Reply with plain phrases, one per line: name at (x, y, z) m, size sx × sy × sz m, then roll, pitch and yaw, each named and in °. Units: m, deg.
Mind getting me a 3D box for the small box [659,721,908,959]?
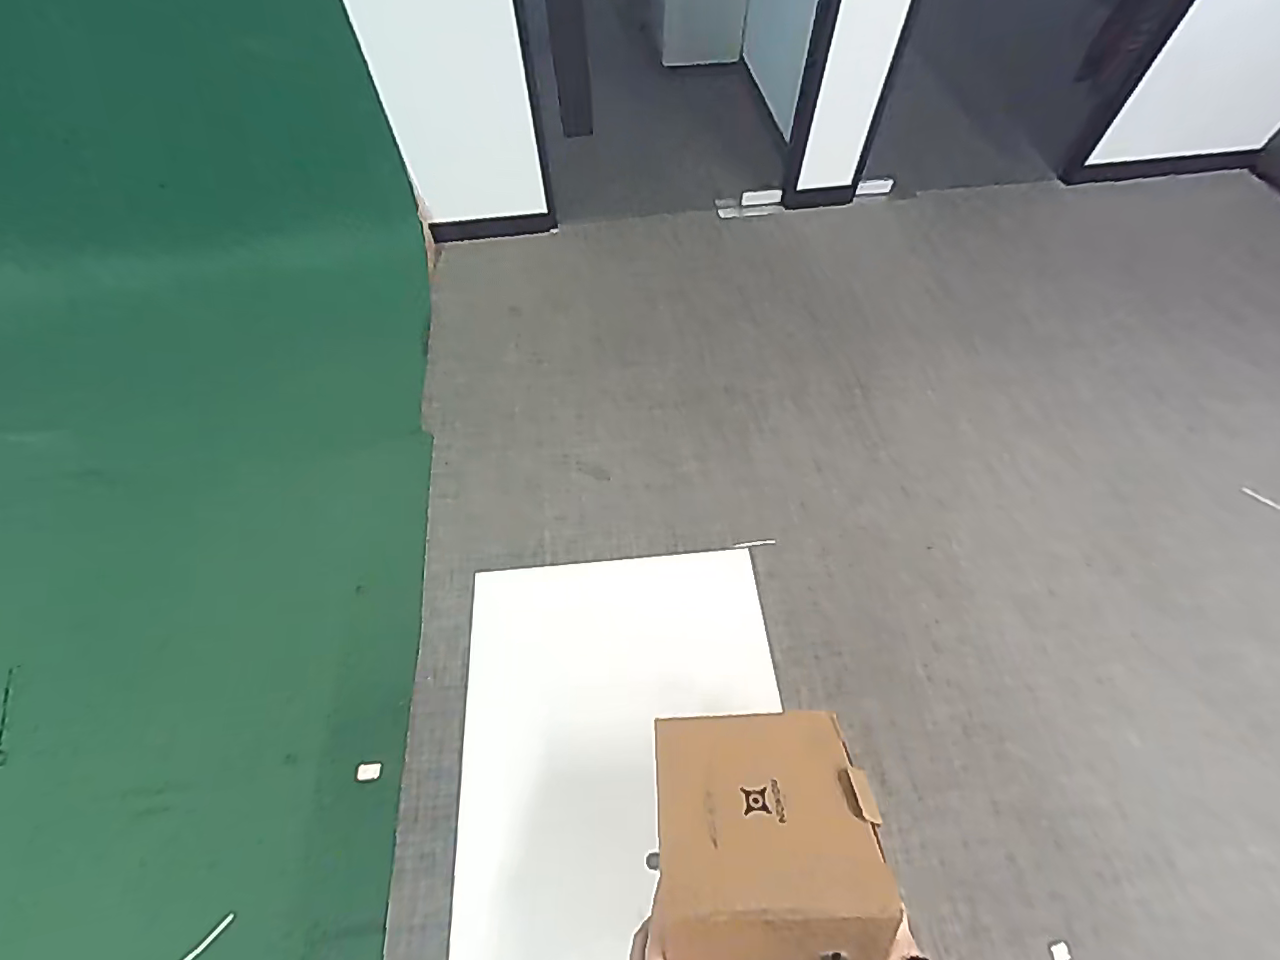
small box at (0.110, 0.347, 0.493) m, size 0.179 × 0.176 × 0.168 m, roll -5°, pitch 30°, yaw 2°
